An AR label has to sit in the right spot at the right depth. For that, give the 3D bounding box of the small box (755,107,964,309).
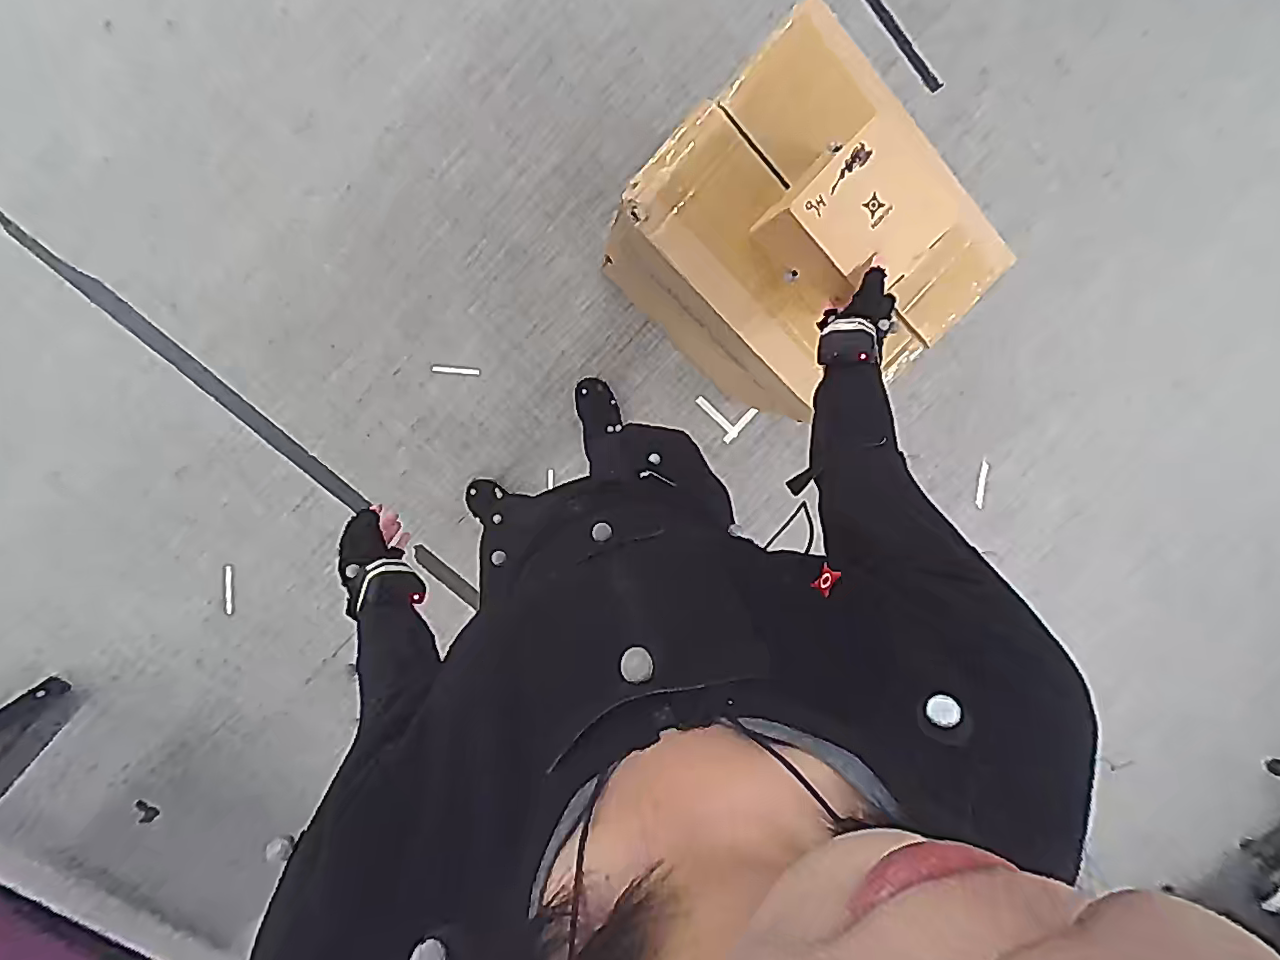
[{"bbox_3d":[0.294,-0.361,0.759,0.179,0.176,0.168,43,97,-14],"label":"small box"}]
